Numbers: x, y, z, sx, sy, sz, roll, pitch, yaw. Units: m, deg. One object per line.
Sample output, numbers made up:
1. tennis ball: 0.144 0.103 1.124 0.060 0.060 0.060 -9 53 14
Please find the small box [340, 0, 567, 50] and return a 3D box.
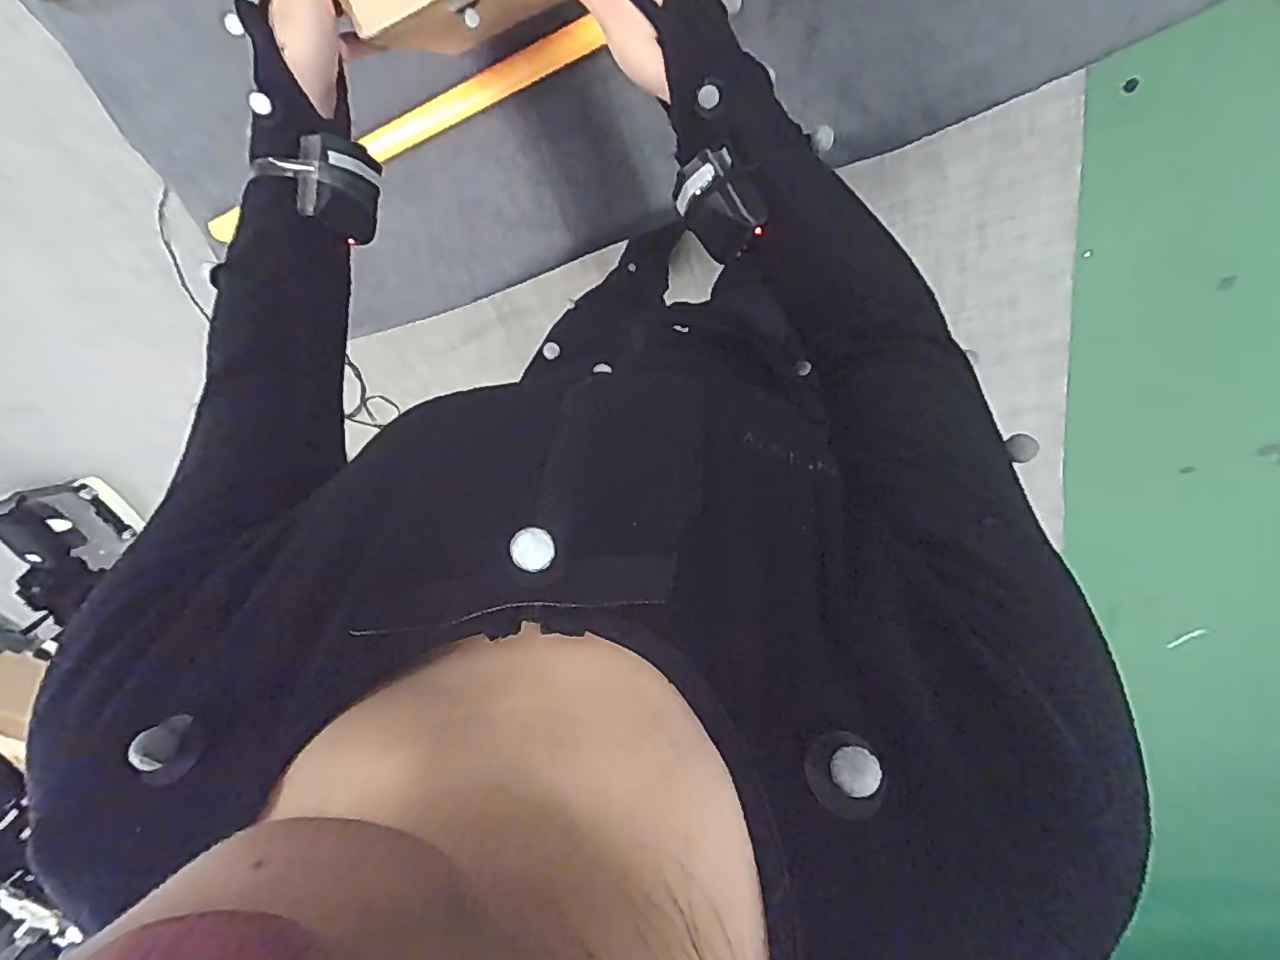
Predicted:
1. small box: -0.138 -0.447 0.398 0.179 0.176 0.168 -11 123 18
